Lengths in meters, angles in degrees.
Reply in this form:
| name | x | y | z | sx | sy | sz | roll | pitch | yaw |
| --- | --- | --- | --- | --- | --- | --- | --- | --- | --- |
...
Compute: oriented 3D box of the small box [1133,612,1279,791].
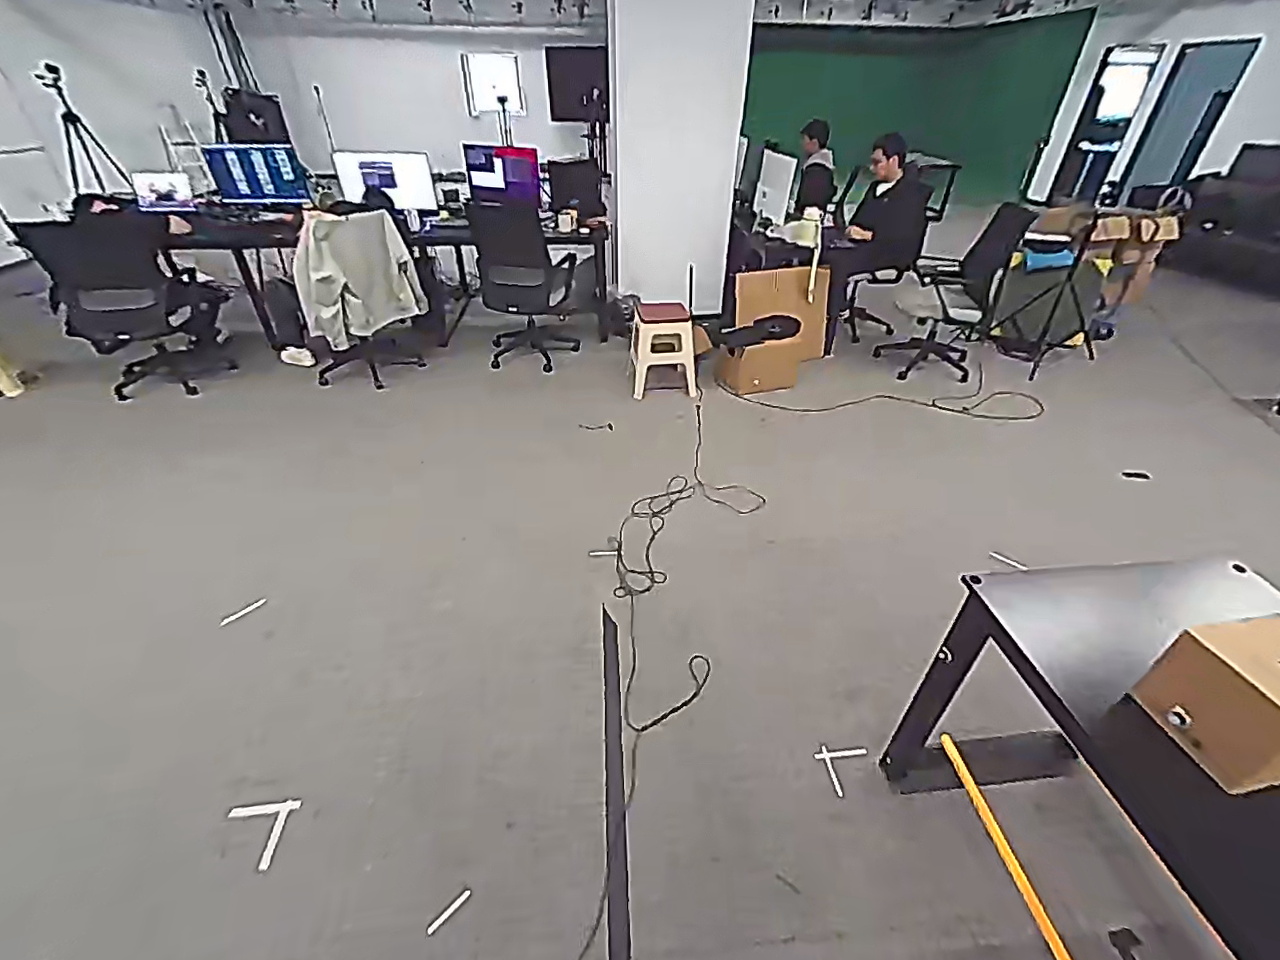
| name | x | y | z | sx | sy | sz | roll | pitch | yaw |
| --- | --- | --- | --- | --- | --- | --- | --- | --- | --- |
| small box | 0.899 | 0.323 | 0.793 | 0.179 | 0.176 | 0.168 | -7 | 36 | -9 |
